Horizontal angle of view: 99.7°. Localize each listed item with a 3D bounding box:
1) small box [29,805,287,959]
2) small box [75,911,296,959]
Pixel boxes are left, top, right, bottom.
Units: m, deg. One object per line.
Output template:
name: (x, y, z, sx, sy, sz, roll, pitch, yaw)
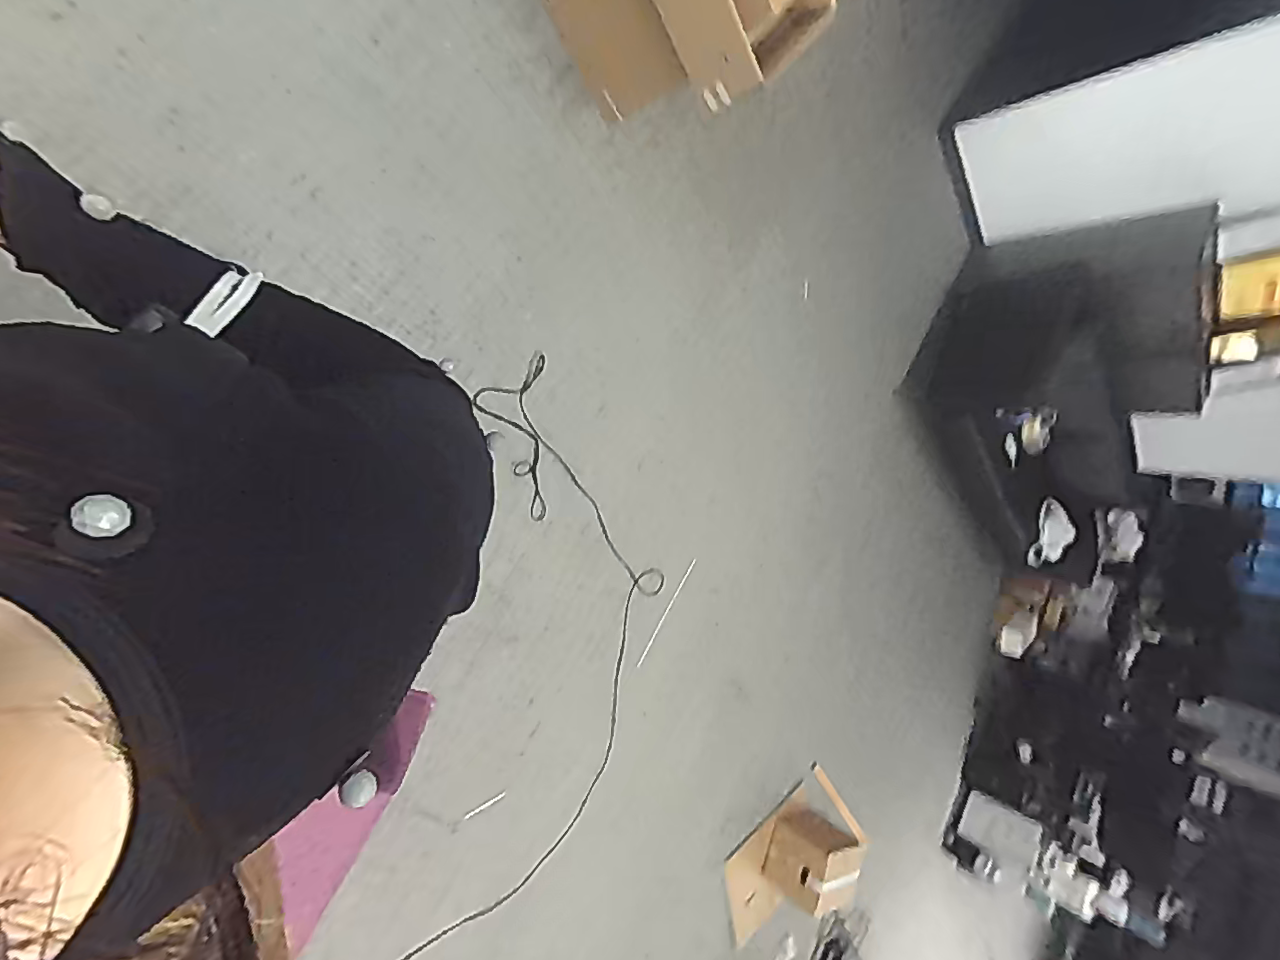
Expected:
small box: (-0.534, 0.496, 0.597, 0.168, 0.176, 0.179, 37, 75, -37)
small box: (-0.429, 0.524, 0.478, 0.179, 0.176, 0.168, 35, 76, -37)
